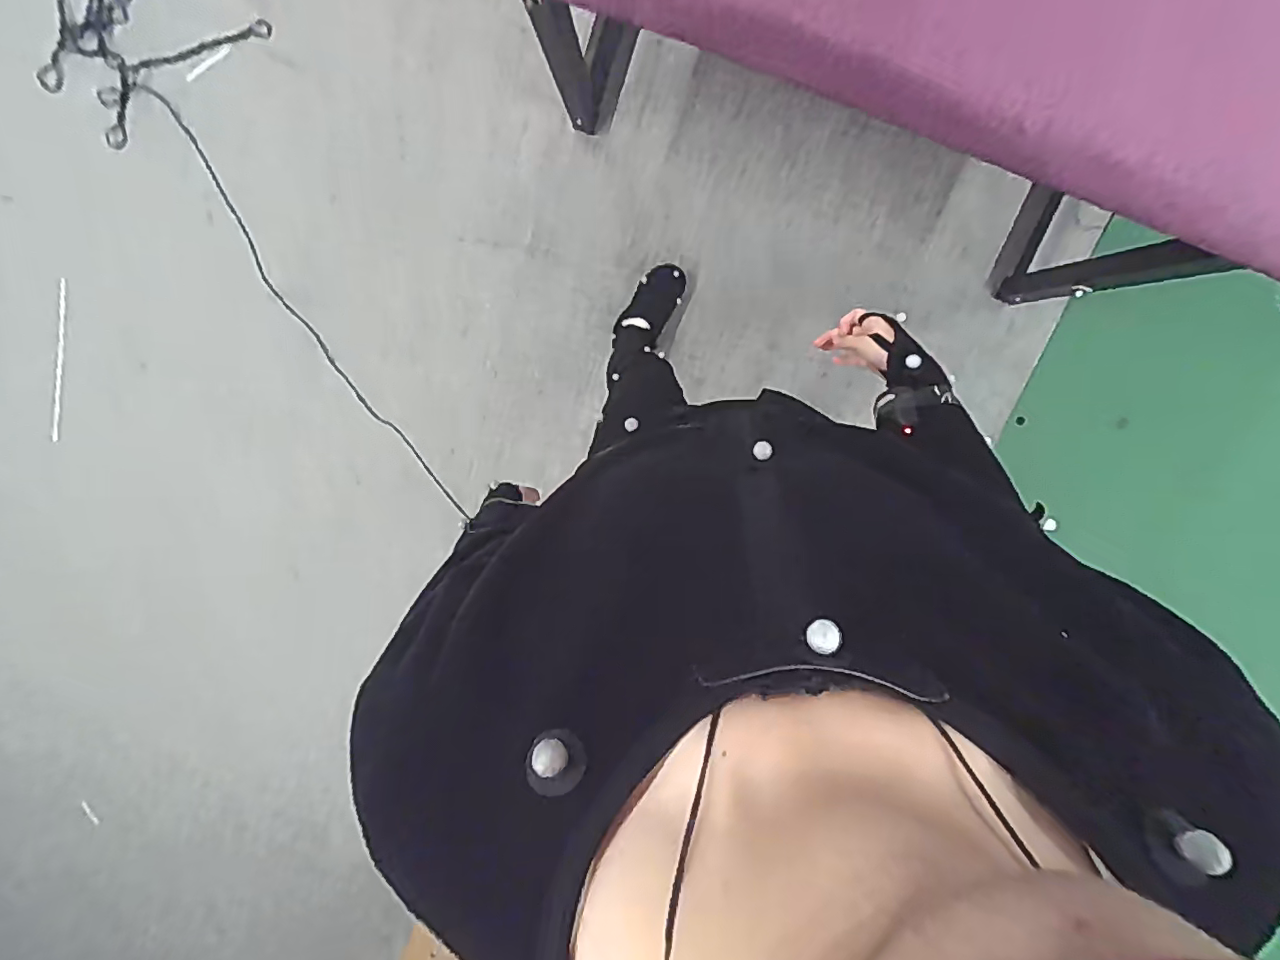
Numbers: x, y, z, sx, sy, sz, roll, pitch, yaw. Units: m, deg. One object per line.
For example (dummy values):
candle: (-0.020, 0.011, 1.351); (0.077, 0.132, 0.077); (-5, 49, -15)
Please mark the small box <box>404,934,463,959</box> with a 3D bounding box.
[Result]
small box: (-0.645, 1.517, 1.614); (0.168, 0.176, 0.179); (17, 102, -1)
